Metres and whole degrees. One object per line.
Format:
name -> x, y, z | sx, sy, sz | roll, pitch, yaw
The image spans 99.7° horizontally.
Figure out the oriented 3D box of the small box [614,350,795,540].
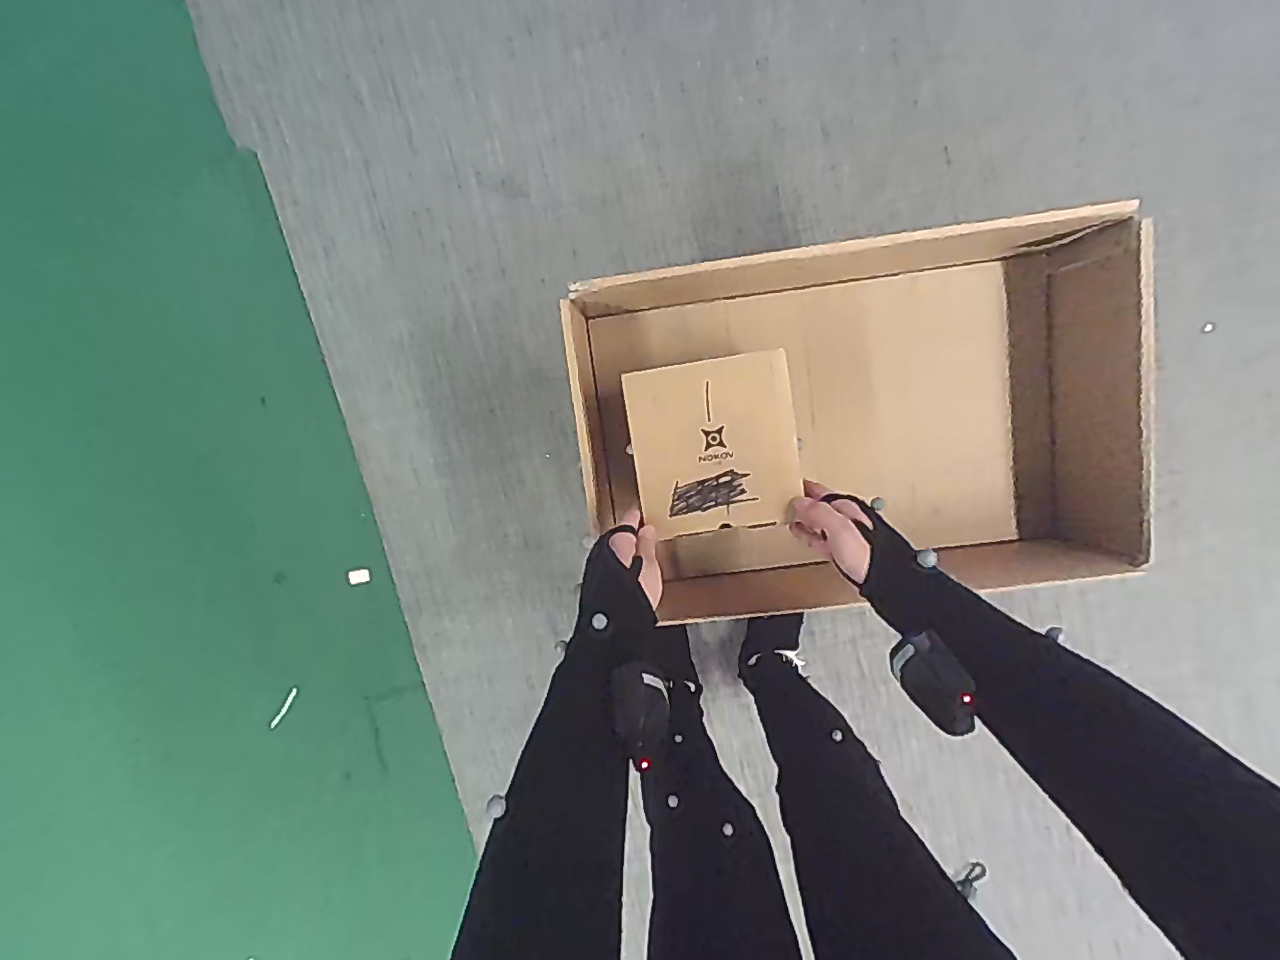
small box -> 0.076, -0.043, 0.626 | 0.168, 0.176, 0.179 | -9, 96, 8
